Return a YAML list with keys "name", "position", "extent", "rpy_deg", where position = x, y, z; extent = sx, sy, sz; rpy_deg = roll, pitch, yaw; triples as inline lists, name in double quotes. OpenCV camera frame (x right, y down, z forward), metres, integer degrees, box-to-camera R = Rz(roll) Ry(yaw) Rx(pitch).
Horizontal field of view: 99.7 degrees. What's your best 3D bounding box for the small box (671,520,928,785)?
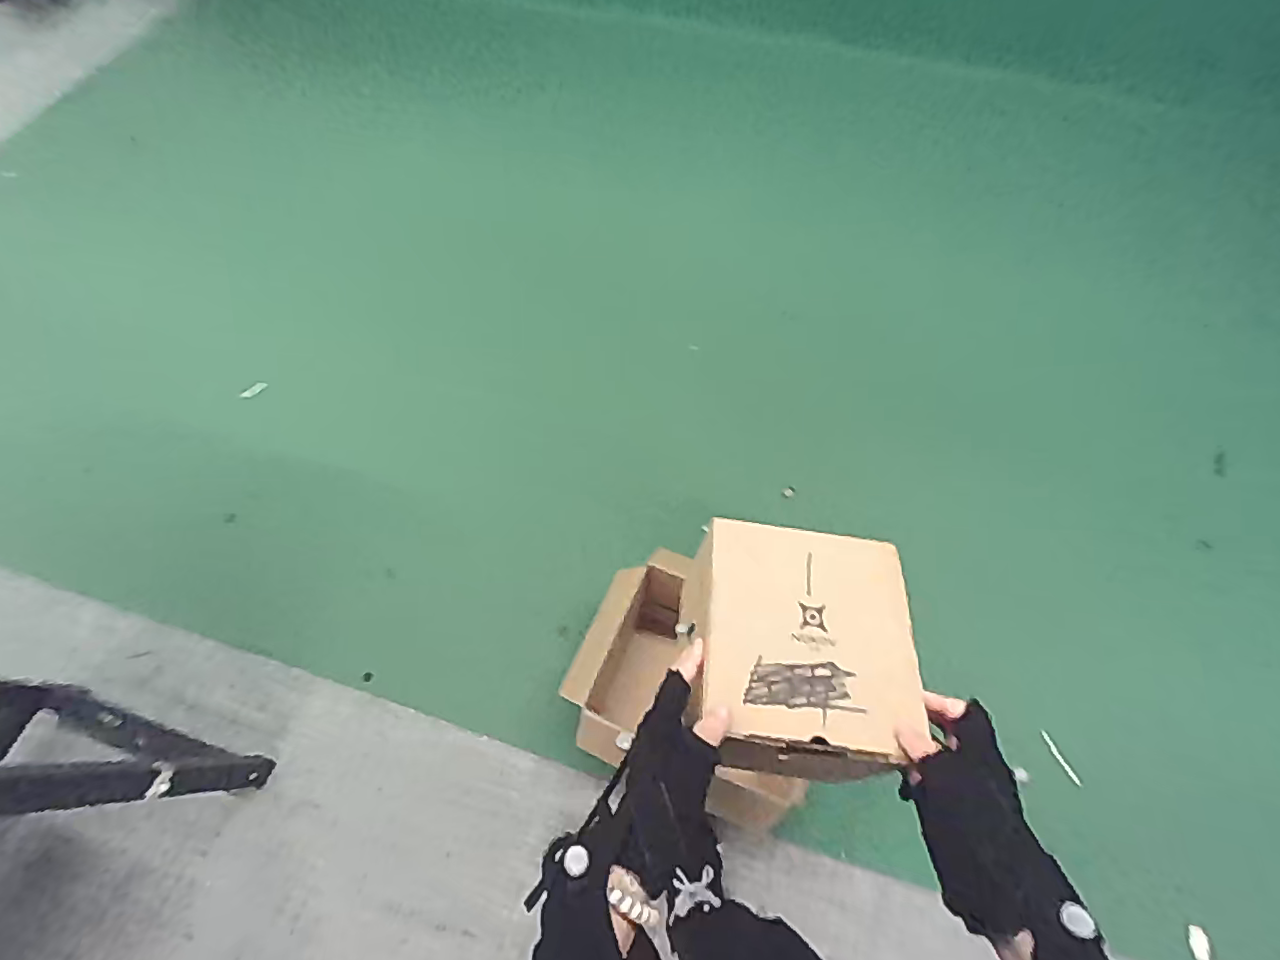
- name: "small box"
  position: [0.124, 0.162, 0.487]
  extent: [0.168, 0.176, 0.179]
  rpy_deg: [9, 55, -1]
